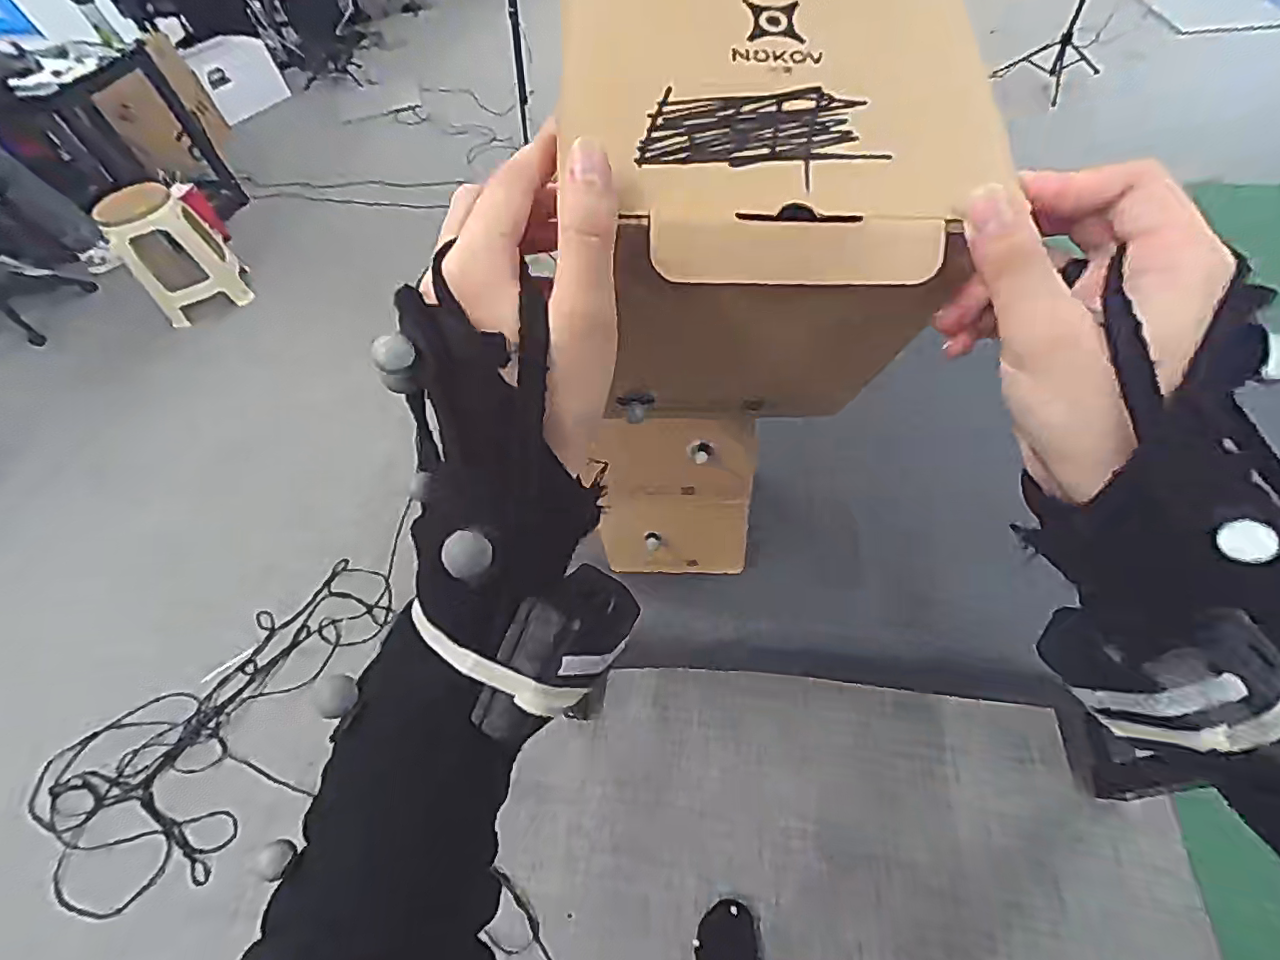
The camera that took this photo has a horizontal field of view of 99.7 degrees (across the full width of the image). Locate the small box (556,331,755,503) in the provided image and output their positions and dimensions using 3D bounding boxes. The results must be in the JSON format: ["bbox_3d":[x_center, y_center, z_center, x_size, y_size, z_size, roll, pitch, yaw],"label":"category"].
[{"bbox_3d":[0.025,-0.090,0.537,0.168,0.176,0.179,0,53,5],"label":"small box"}]

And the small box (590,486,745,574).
[{"bbox_3d":[0.043,0.004,0.668,0.168,0.176,0.179,0,54,7],"label":"small box"}]

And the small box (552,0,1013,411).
[{"bbox_3d":[0.045,-0.147,0.288,0.168,0.176,0.179,0,71,-5],"label":"small box"}]
